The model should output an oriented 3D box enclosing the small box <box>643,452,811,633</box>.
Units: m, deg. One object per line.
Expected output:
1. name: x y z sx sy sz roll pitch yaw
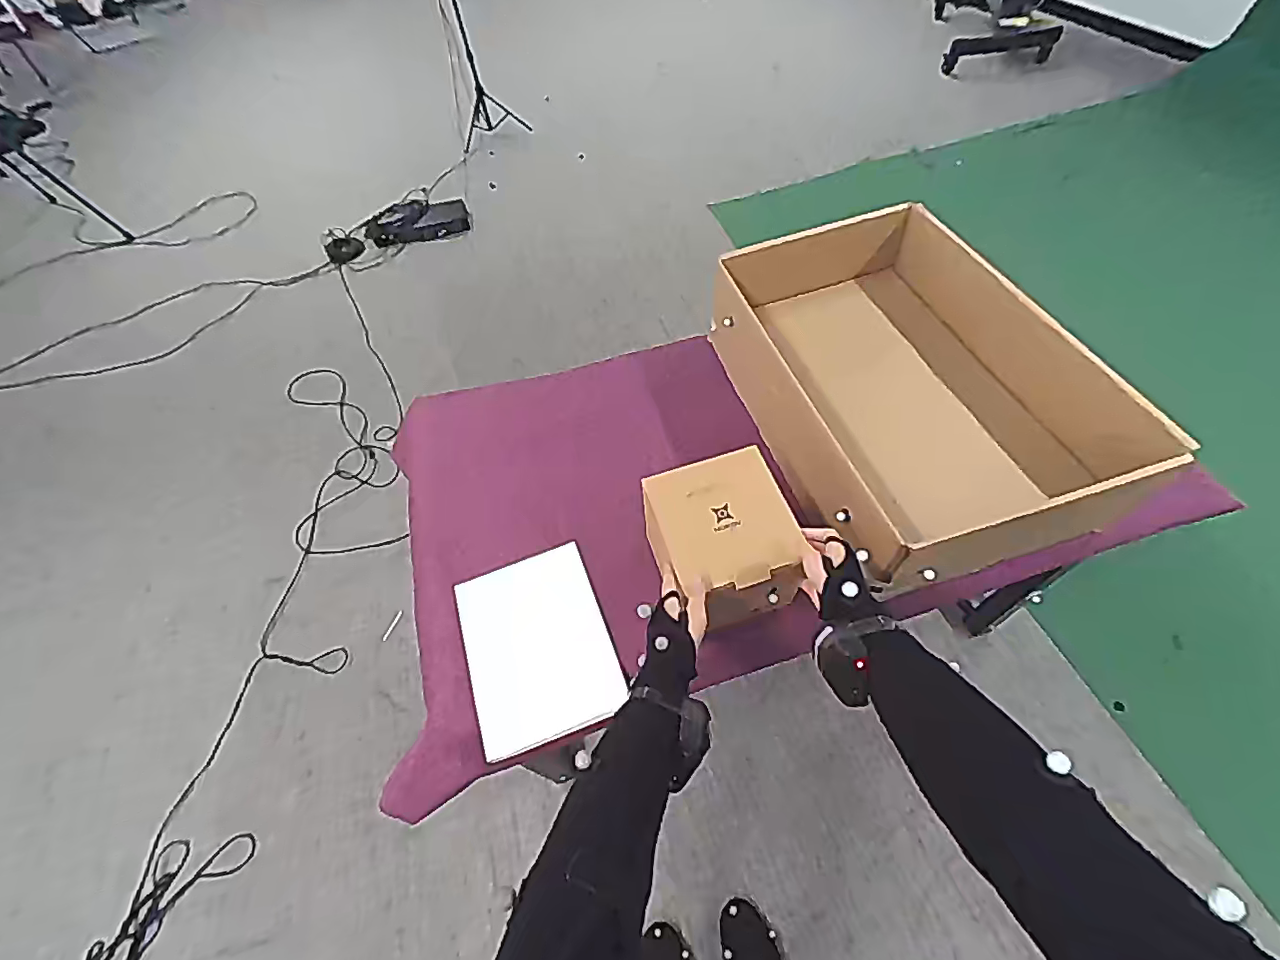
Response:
1. small box: 0.110 0.094 0.743 0.168 0.176 0.179 -16 58 -6
